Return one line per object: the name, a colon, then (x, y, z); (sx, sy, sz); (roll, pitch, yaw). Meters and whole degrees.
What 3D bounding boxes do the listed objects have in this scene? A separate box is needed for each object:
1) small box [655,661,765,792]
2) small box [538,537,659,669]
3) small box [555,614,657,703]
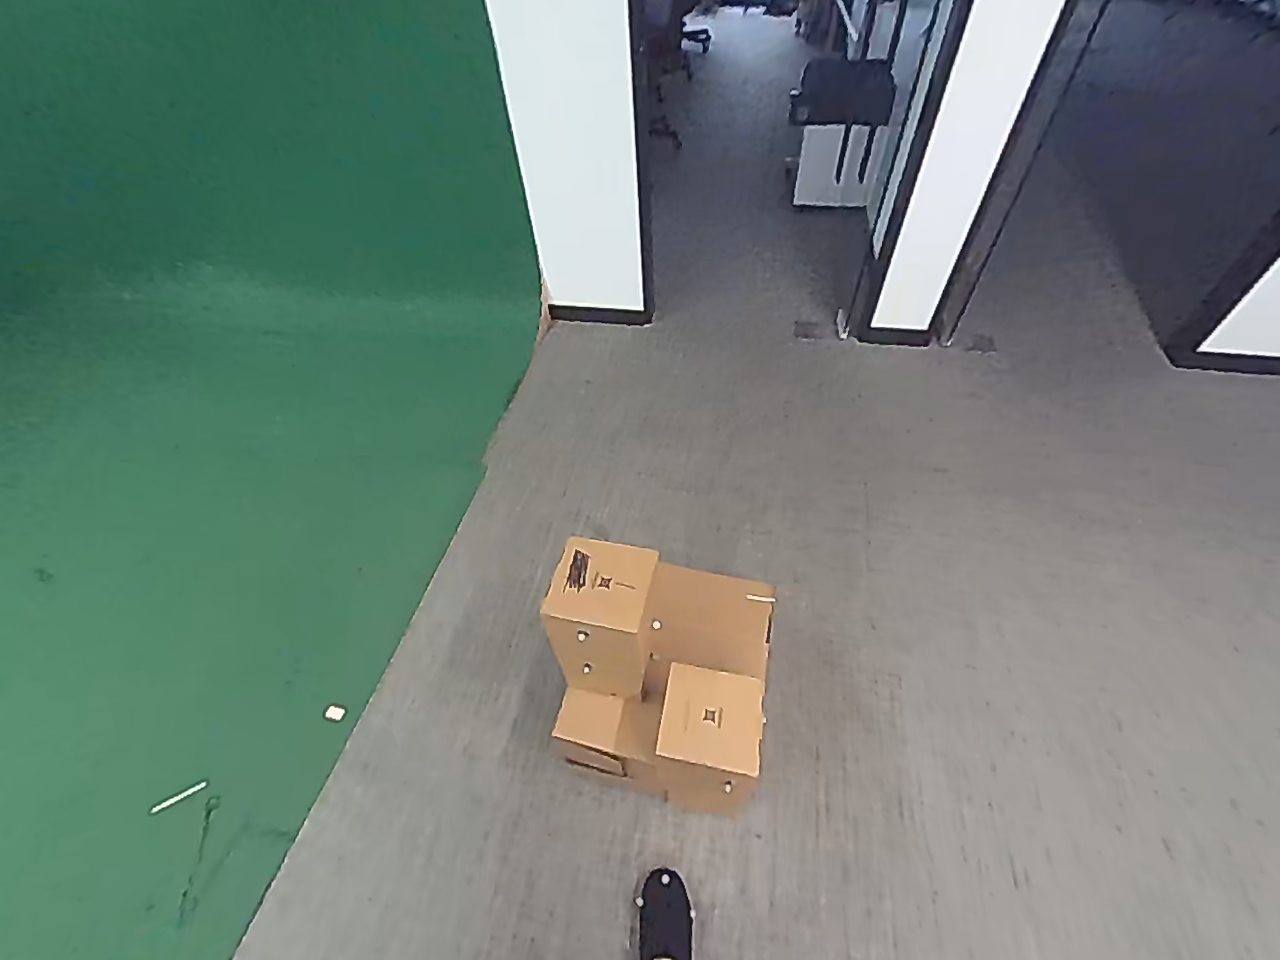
small box: (0.128, 0.464, 1.009); (0.179, 0.176, 0.168); (8, 50, 10)
small box: (-0.067, 0.231, 1.004); (0.179, 0.176, 0.168); (9, 50, 11)
small box: (-0.062, 0.336, 1.131); (0.168, 0.176, 0.179); (9, 49, 12)
